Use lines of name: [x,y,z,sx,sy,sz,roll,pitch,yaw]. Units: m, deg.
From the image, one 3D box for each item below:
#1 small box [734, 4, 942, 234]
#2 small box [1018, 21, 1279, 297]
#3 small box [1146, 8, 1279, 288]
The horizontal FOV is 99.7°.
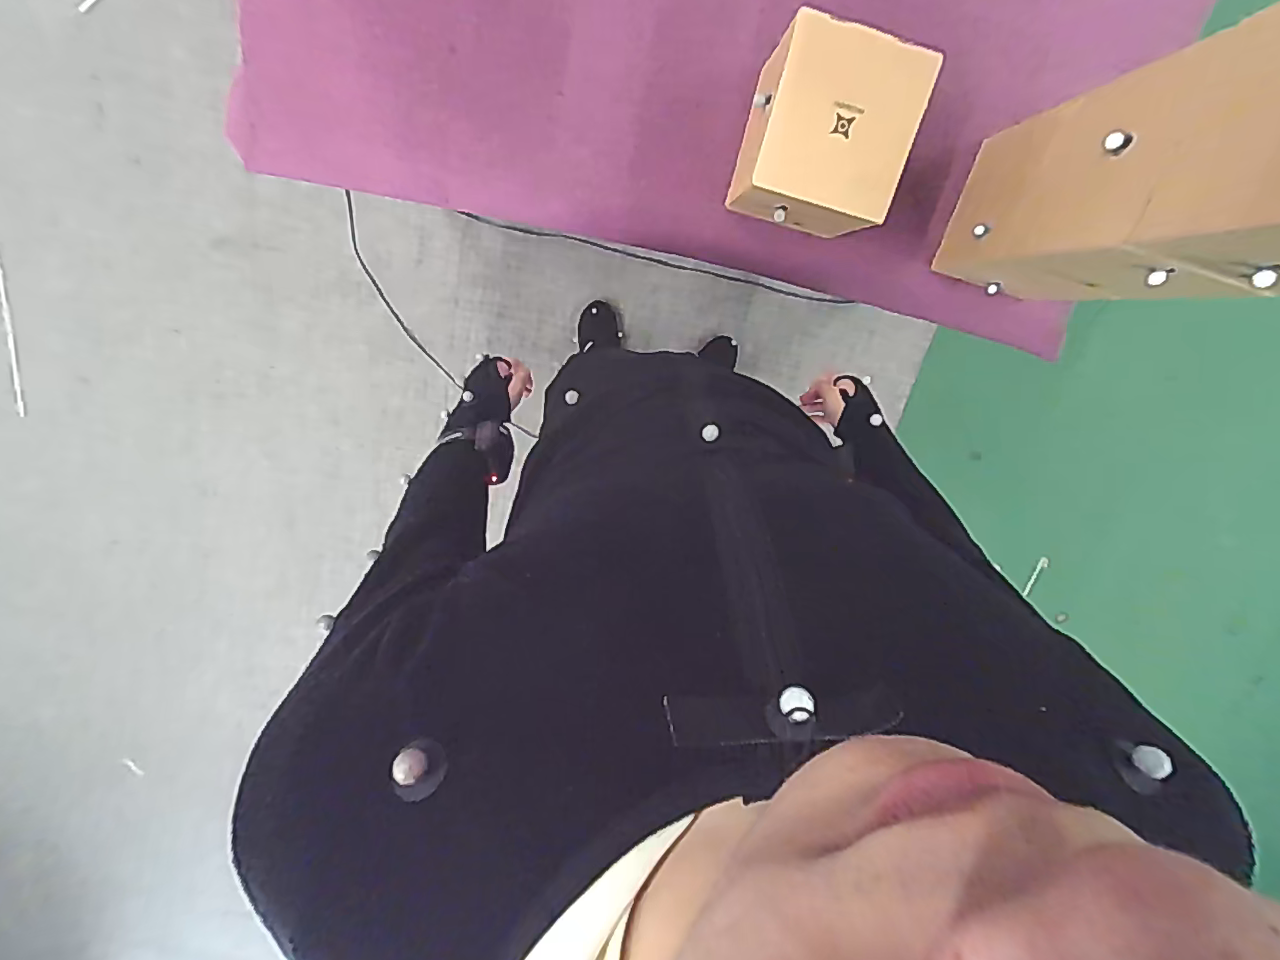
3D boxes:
small box: [0.224,-0.423,0.671,0.168,0.176,0.179,14,107,-5]
small box: [0.535,-0.295,0.544,0.168,0.176,0.179,15,107,-5]
small box: [0.537,-0.247,0.386,0.168,0.176,0.179,15,108,-5]
